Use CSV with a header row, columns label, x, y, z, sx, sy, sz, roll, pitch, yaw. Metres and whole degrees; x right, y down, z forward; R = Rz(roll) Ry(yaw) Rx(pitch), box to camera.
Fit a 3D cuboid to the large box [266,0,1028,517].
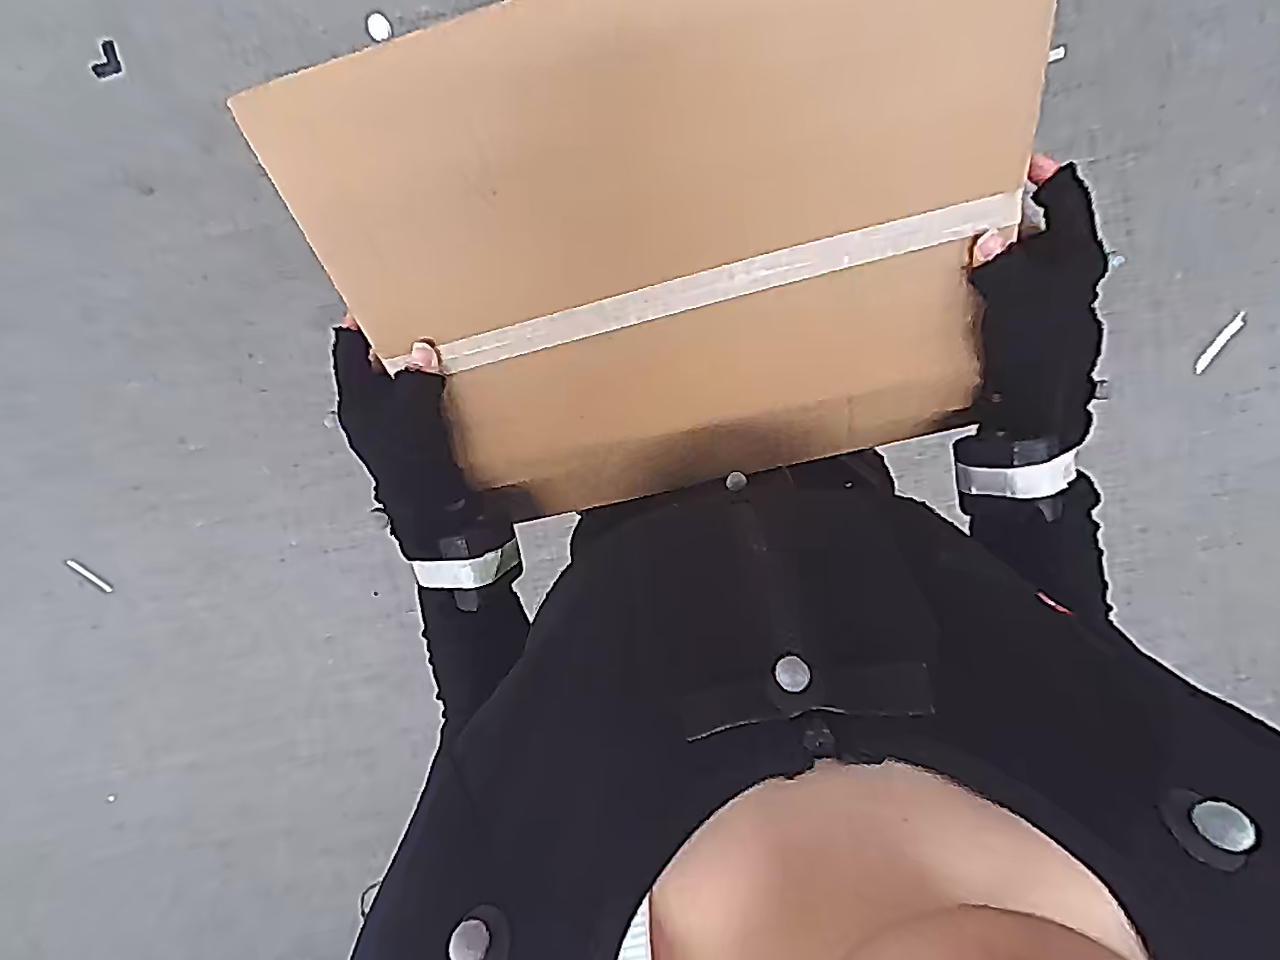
label,x,y,z,sx,sy,sz,roll,pitch,yaw
large box,0.018,-0.216,0.469,0.408,0.320,0.320,-12,130,7
